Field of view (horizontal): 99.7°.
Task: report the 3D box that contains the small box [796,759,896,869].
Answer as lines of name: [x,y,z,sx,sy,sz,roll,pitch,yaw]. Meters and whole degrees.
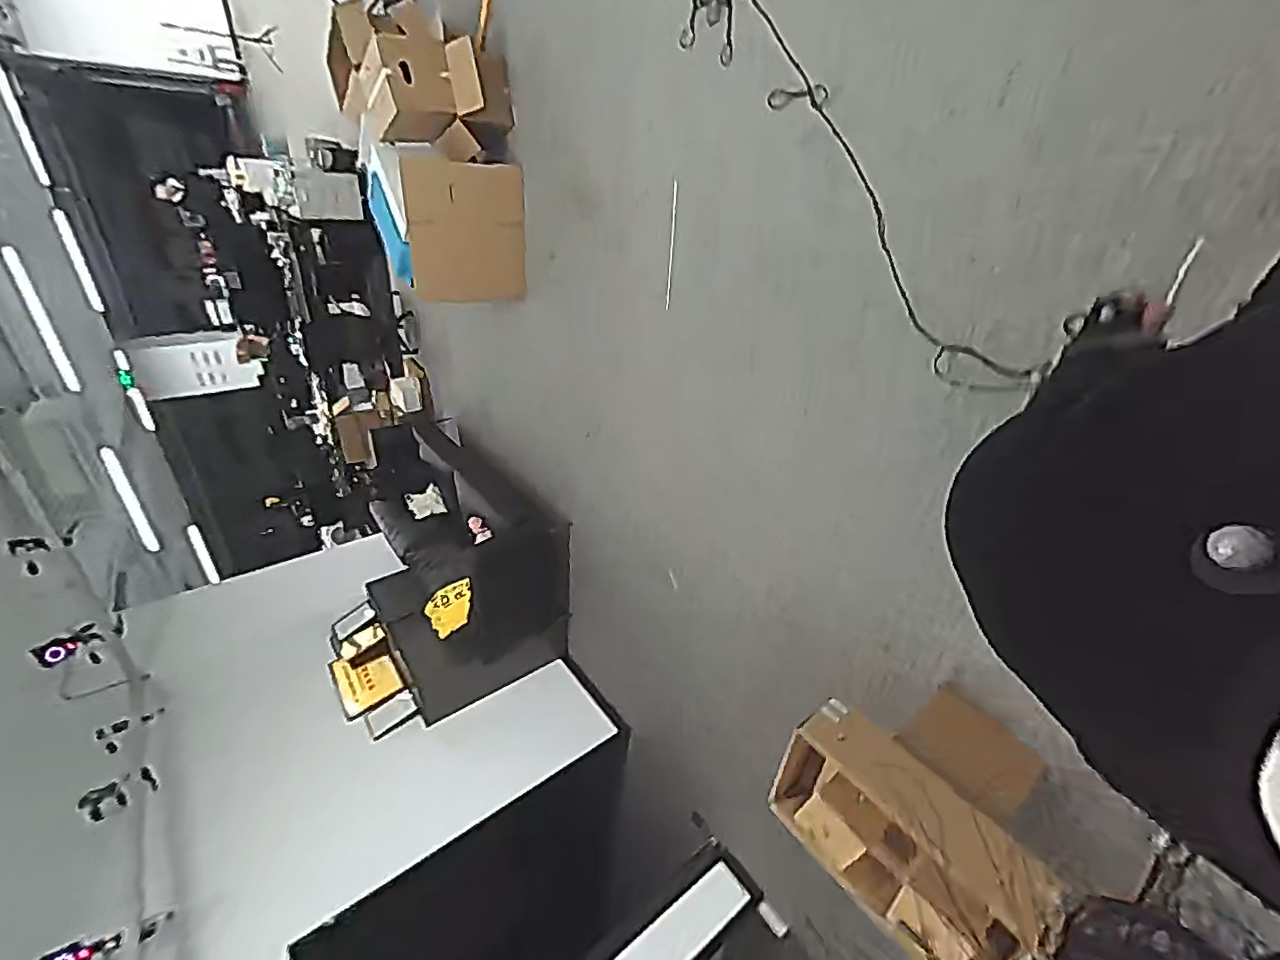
small box: [0.569,0.910,1.485,0.168,0.176,0.179,44,137,33]
